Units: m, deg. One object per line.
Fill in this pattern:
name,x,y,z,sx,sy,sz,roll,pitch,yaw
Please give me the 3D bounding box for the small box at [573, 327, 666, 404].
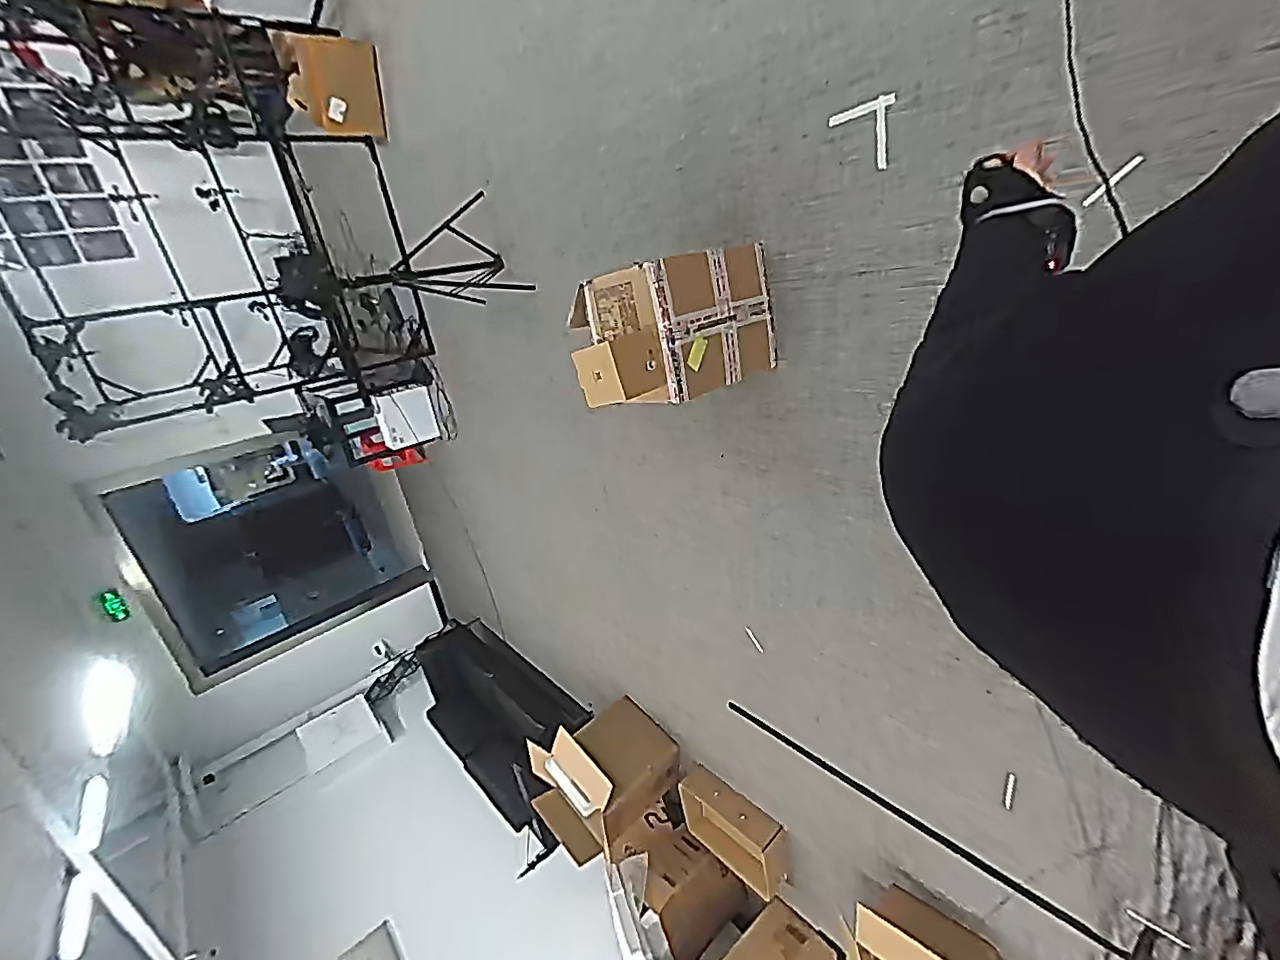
small box,-0.057,-0.324,1.536,0.179,0.176,0.168,-2,111,48
